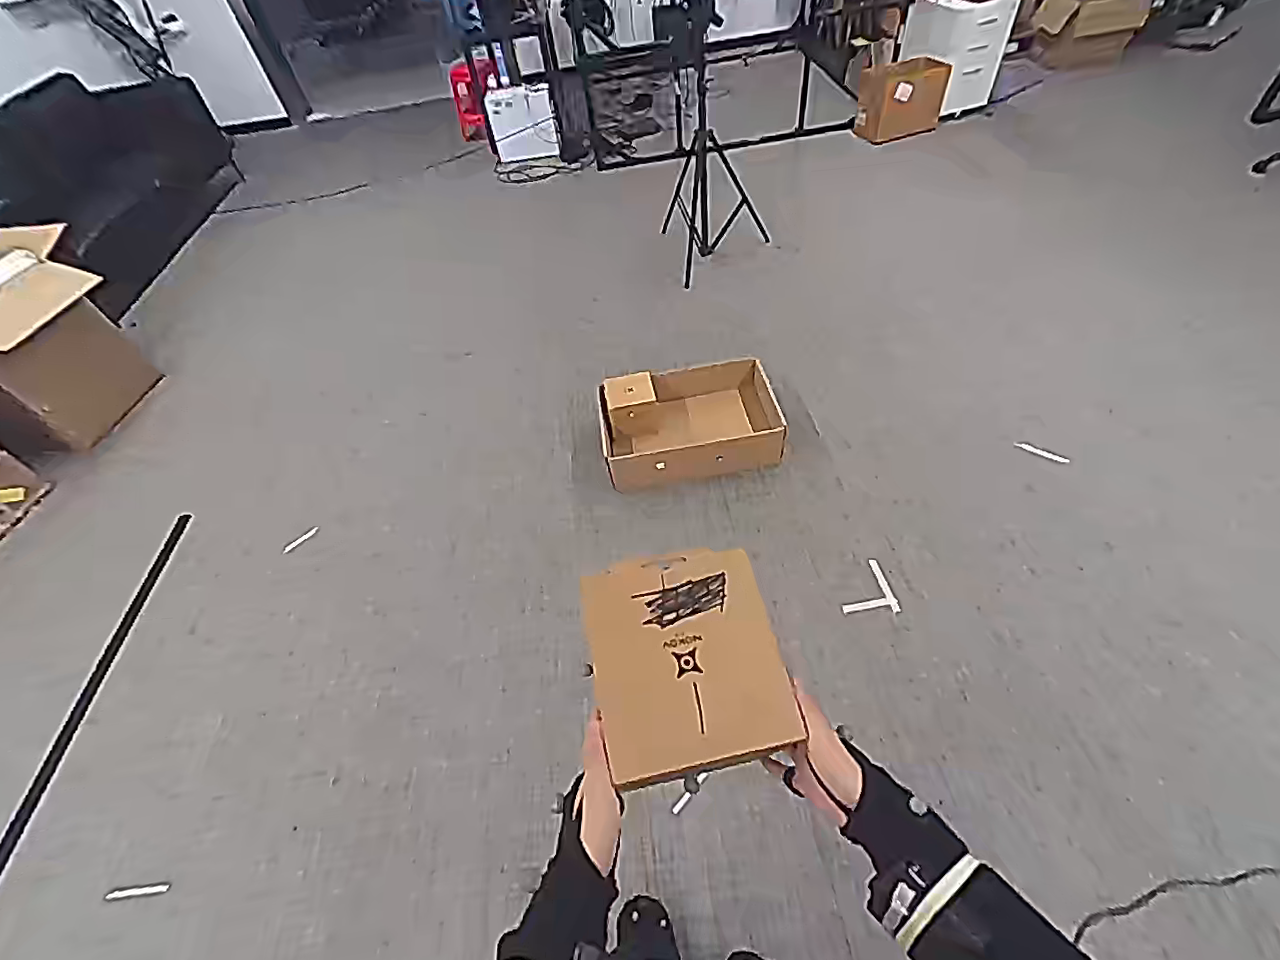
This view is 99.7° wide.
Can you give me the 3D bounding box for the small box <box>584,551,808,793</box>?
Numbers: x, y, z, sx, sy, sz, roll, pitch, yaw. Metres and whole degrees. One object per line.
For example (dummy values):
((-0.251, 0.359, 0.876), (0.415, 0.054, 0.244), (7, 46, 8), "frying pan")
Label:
((0.038, 0.195, 0.541), (0.168, 0.176, 0.179), (-9, 59, -8), "small box")
